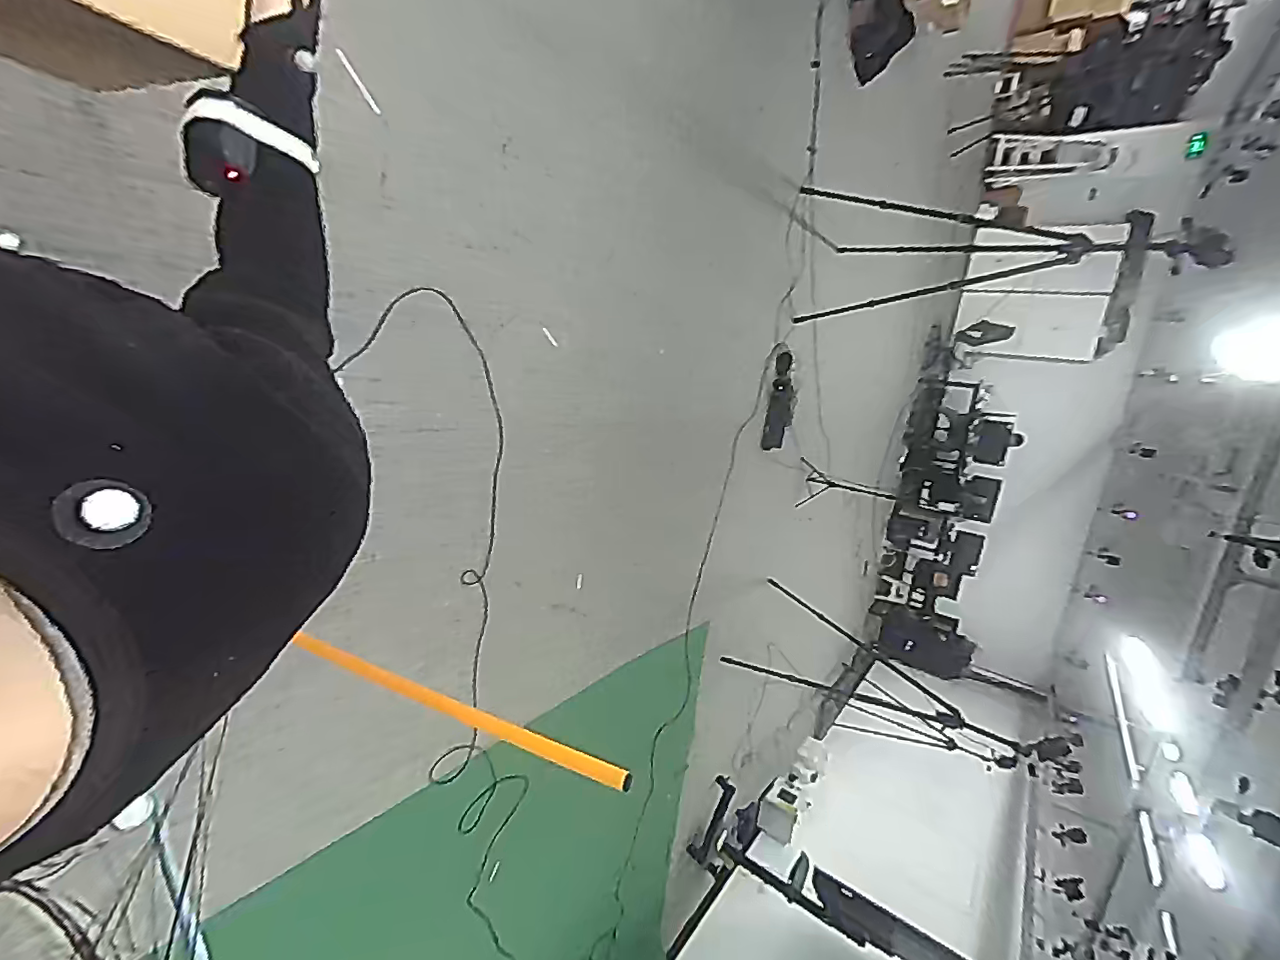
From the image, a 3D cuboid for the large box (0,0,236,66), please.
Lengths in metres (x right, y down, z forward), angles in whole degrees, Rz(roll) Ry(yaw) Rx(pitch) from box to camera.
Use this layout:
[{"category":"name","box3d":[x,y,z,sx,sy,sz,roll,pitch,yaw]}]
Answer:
[{"category":"large box","box3d":[-0.518,-0.500,0.296,0.408,0.320,0.320,-13,118,-57]}]
